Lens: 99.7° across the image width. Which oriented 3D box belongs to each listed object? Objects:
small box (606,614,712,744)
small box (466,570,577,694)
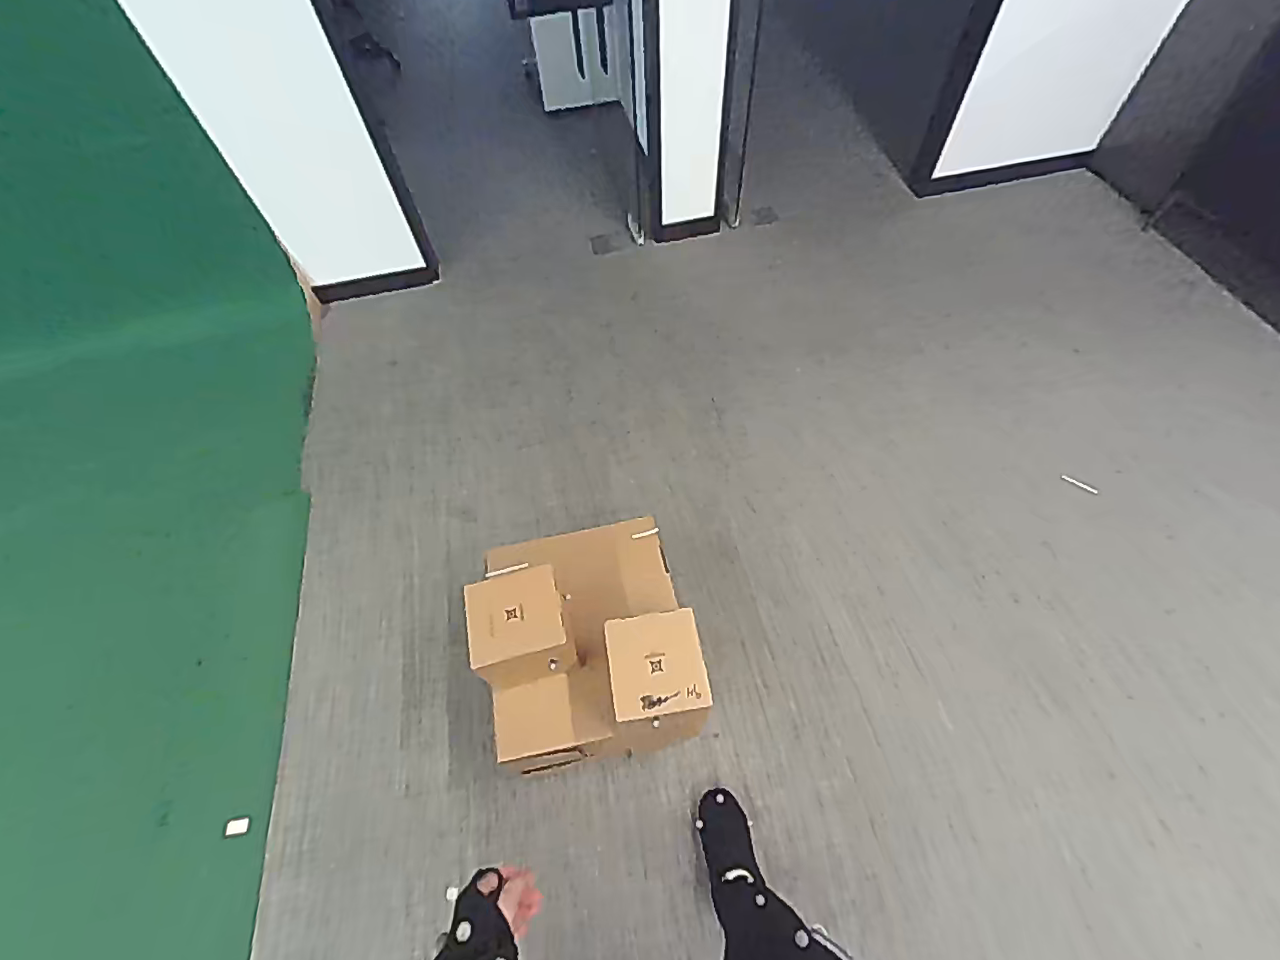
[{"bbox_3d":[0.031,0.370,1.000,0.168,0.176,0.179,-8,56,-3],"label":"small box"},{"bbox_3d":[-0.227,0.302,1.065,0.179,0.176,0.168,-14,55,-5],"label":"small box"}]
